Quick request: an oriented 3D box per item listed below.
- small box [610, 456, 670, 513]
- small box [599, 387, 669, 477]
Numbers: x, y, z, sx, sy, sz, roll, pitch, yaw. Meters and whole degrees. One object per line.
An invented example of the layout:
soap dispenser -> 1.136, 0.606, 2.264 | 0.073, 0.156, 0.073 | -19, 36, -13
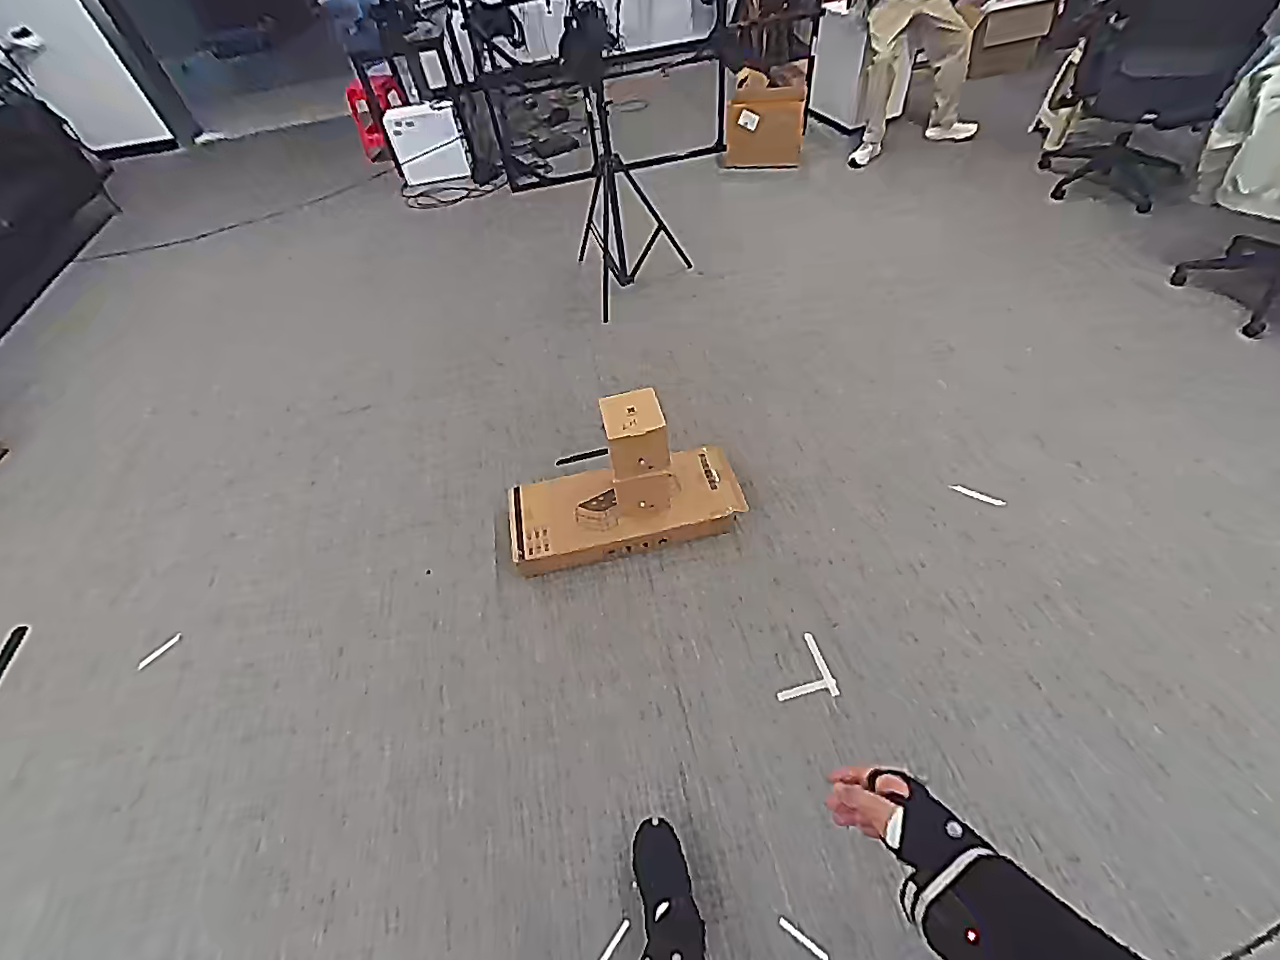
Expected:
small box -> -0.002, -0.021, 1.689 | 0.168, 0.176, 0.179 | -10, 51, 0
small box -> -0.016, -0.138, 1.572 | 0.168, 0.176, 0.179 | -14, 50, -3
